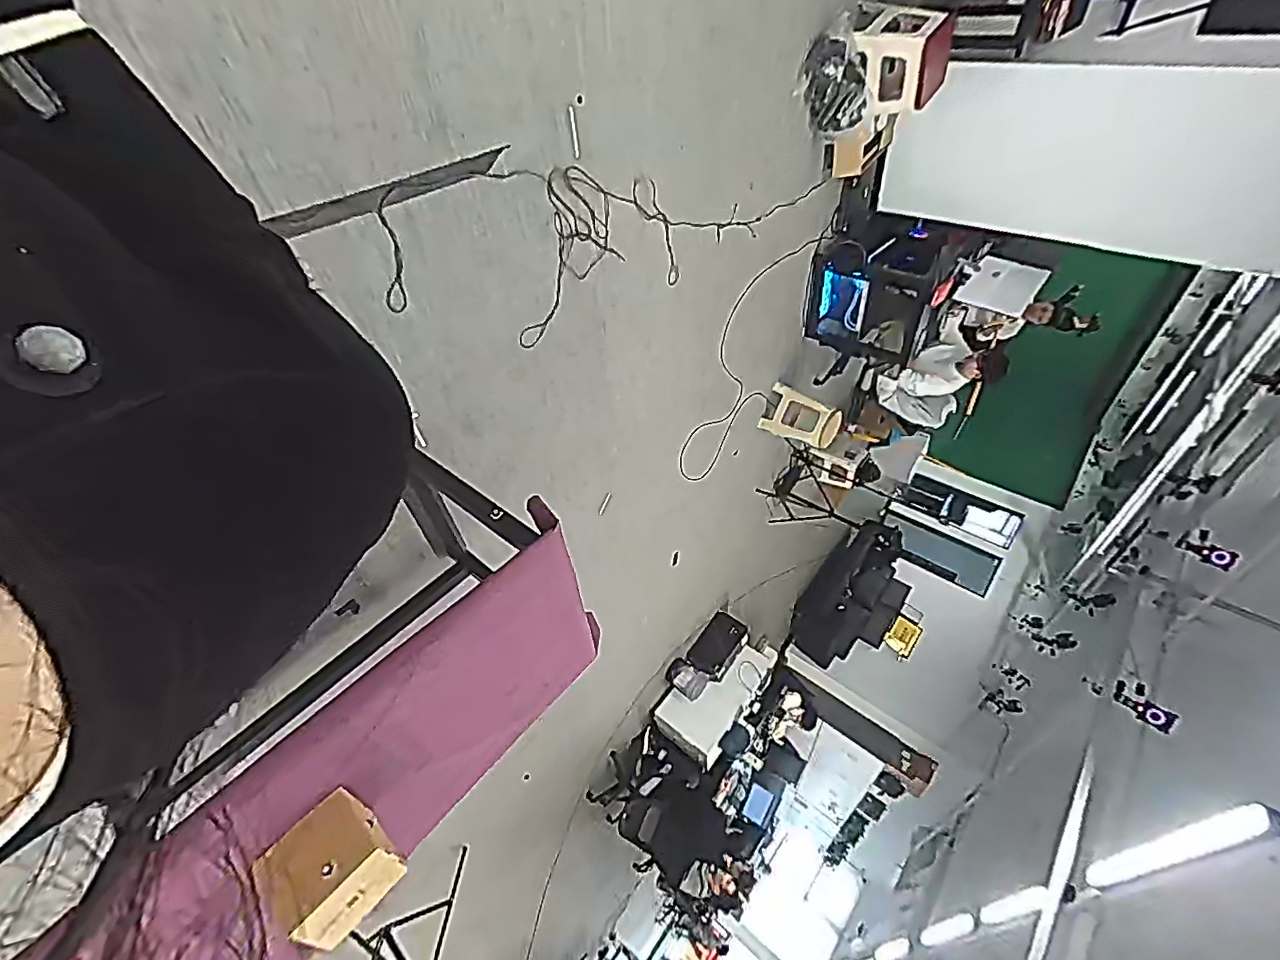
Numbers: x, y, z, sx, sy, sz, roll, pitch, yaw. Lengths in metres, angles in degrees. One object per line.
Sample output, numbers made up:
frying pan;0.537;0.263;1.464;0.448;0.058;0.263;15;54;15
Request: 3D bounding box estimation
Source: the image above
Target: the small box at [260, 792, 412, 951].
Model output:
small box;-0.594;0.761;1.063;0.179;0.176;0.168;-39;142;-31
